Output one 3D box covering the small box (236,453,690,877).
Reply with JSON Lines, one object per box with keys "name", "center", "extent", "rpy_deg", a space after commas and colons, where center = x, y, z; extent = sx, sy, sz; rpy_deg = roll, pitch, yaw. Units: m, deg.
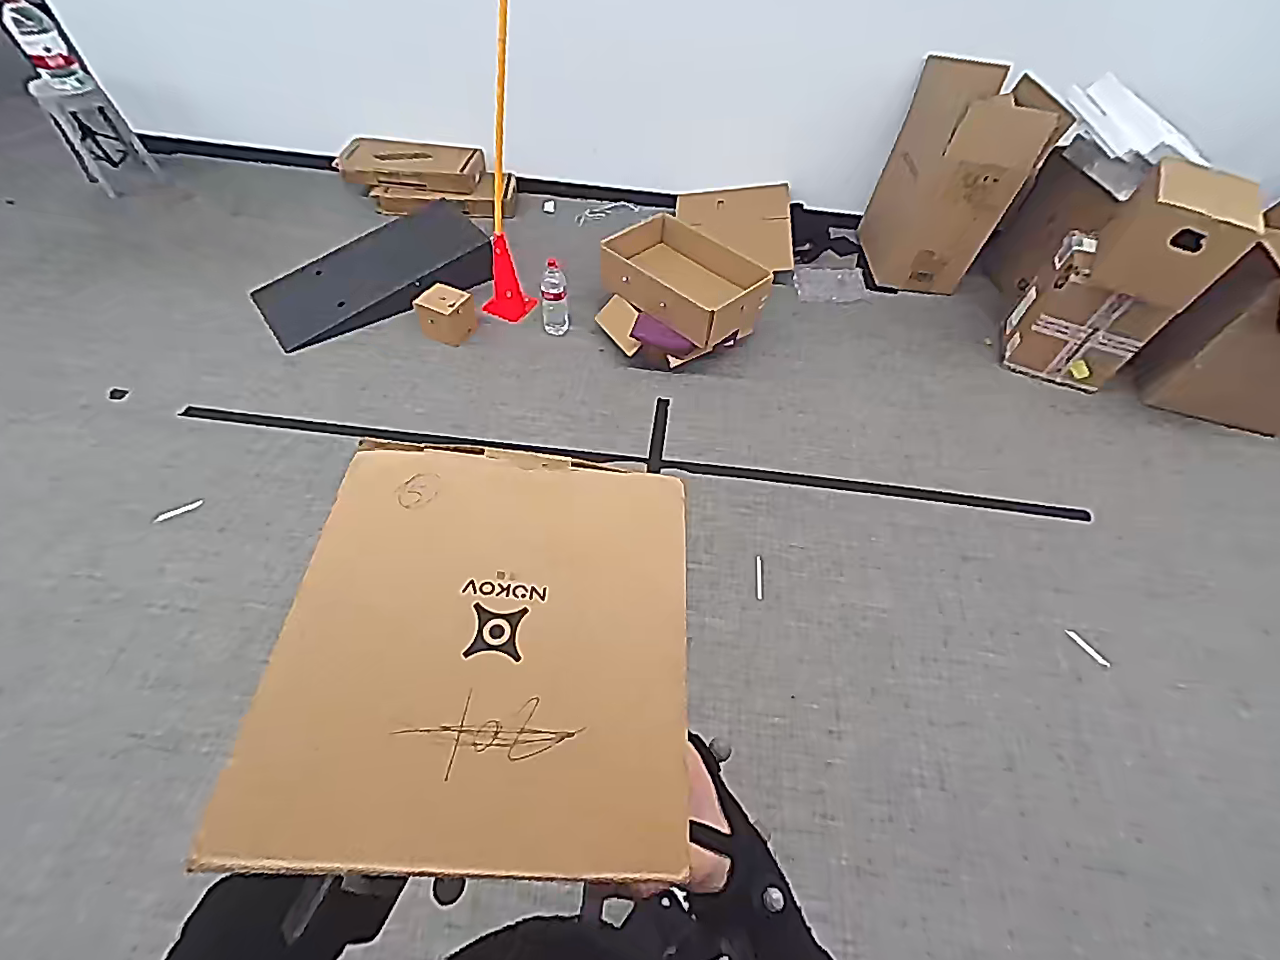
{"name": "small box", "center": [-0.072, 0.111, 0.307], "extent": [0.168, 0.176, 0.179], "rpy_deg": [6, 57, -7]}
